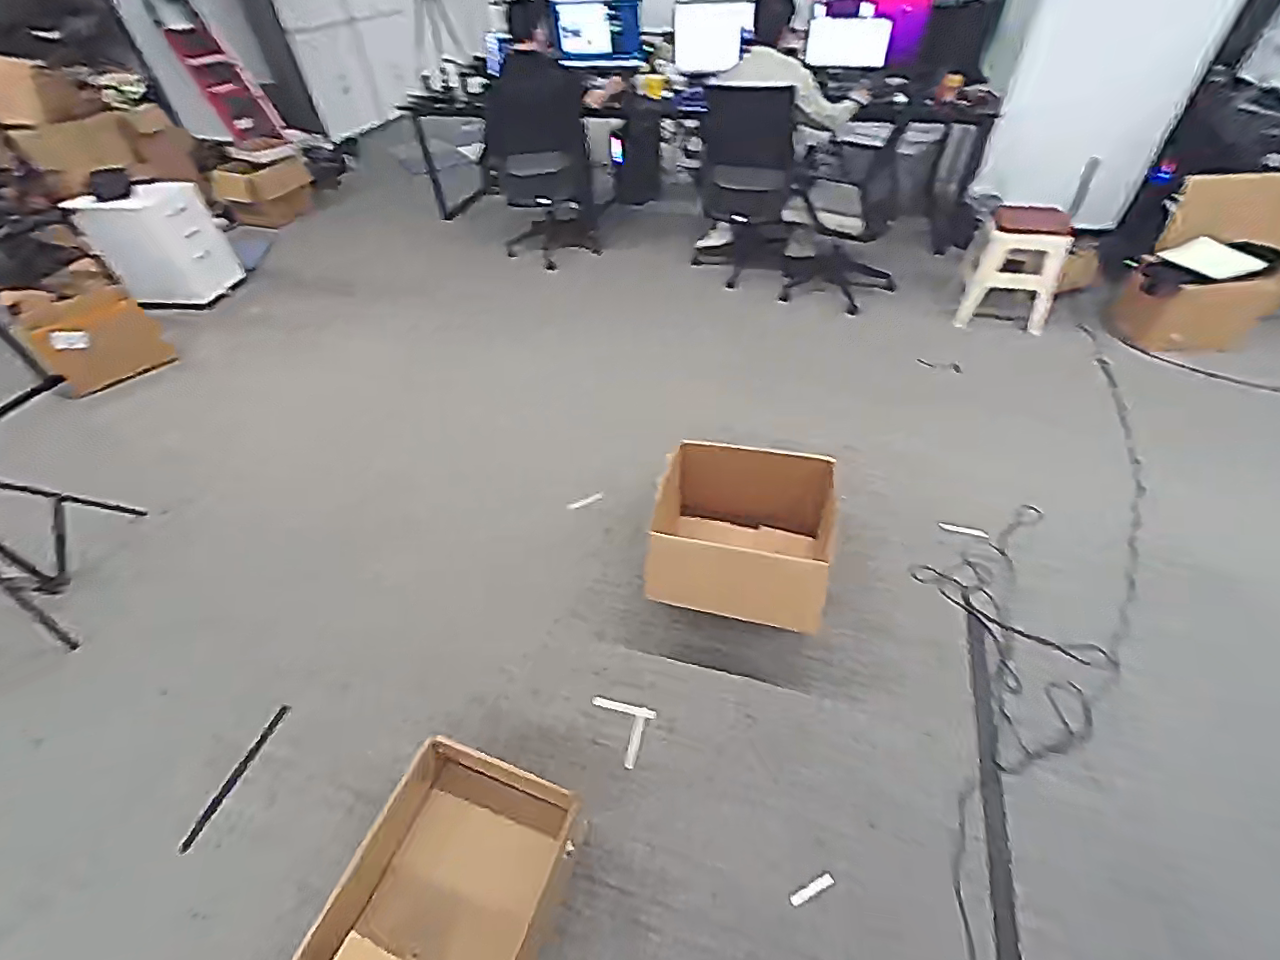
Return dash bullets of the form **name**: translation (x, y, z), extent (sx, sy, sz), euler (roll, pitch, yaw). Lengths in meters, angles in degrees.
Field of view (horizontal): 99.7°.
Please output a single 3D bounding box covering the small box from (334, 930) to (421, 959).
- **small box**: translation (-0.500, 0.986, 1.003), extent (0.168, 0.176, 0.179), euler (15, 47, 14)
